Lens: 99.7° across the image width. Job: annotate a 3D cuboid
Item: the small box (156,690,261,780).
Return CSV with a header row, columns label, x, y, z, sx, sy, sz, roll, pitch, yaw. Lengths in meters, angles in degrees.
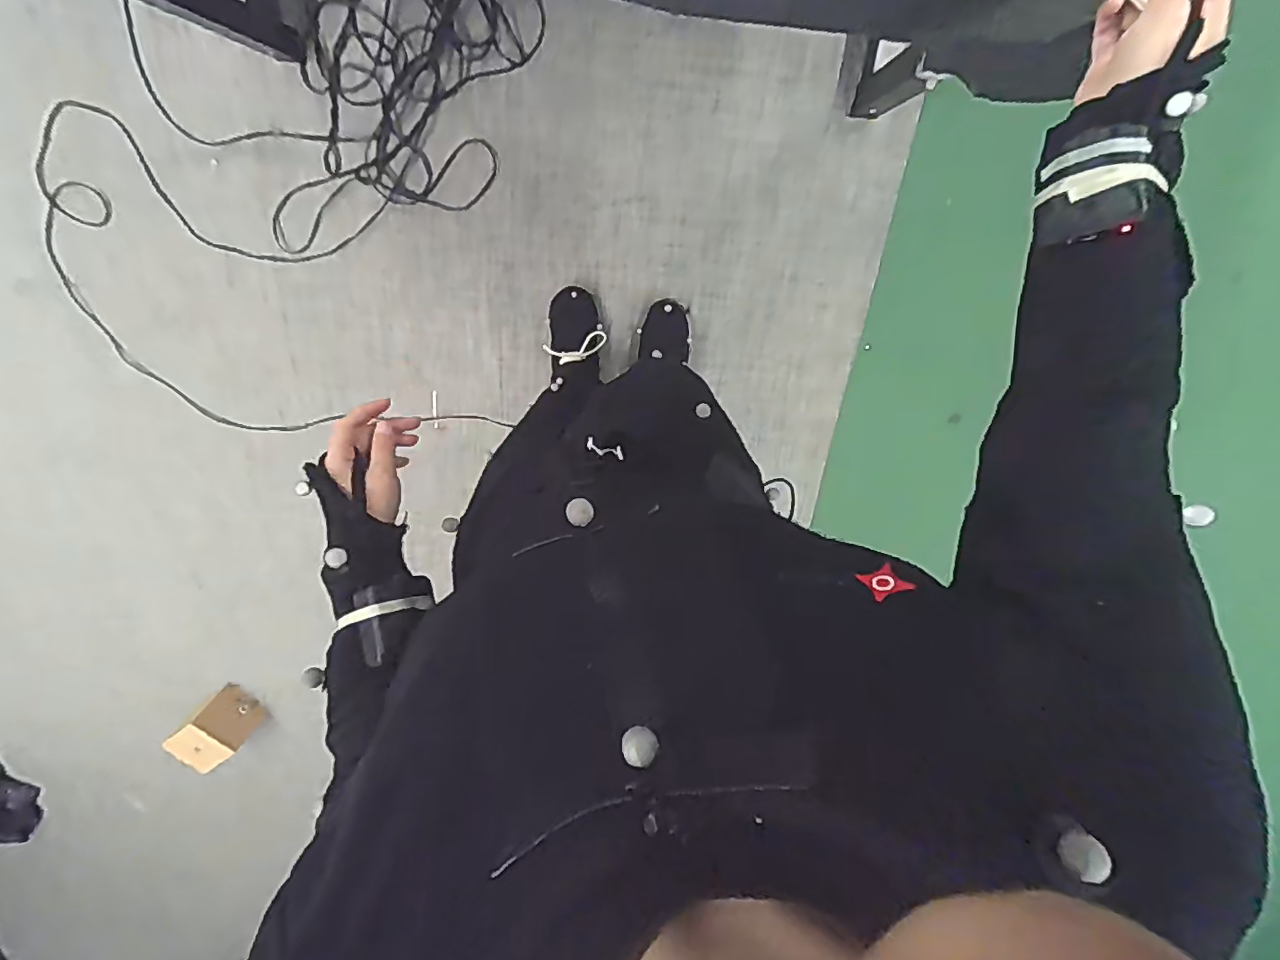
label,x,y,z,sx,sy,sz,roll,pitch,yaw
small box,-1.382,0.819,1.746,0.179,0.176,0.168,-35,110,16
